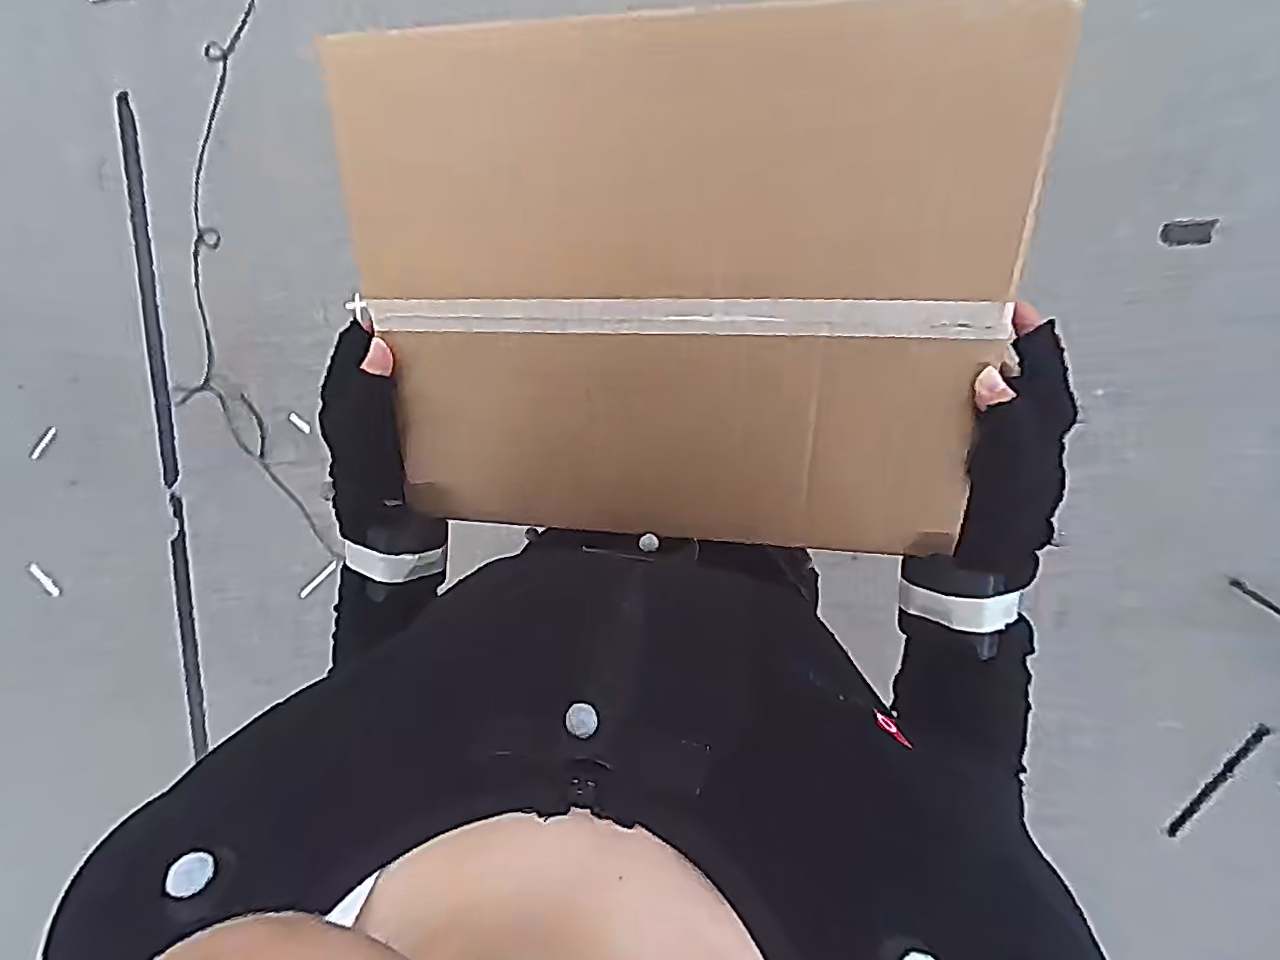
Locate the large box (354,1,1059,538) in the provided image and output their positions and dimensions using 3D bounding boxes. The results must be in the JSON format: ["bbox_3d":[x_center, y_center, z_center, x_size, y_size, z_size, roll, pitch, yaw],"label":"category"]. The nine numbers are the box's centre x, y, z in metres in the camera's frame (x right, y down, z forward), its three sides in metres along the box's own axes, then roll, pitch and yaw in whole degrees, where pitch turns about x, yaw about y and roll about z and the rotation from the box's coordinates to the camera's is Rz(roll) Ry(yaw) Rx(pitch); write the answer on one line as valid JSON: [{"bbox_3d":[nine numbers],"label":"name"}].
[{"bbox_3d":[0.041,-0.164,0.494,0.408,0.320,0.320,4,114,9],"label":"large box"}]
